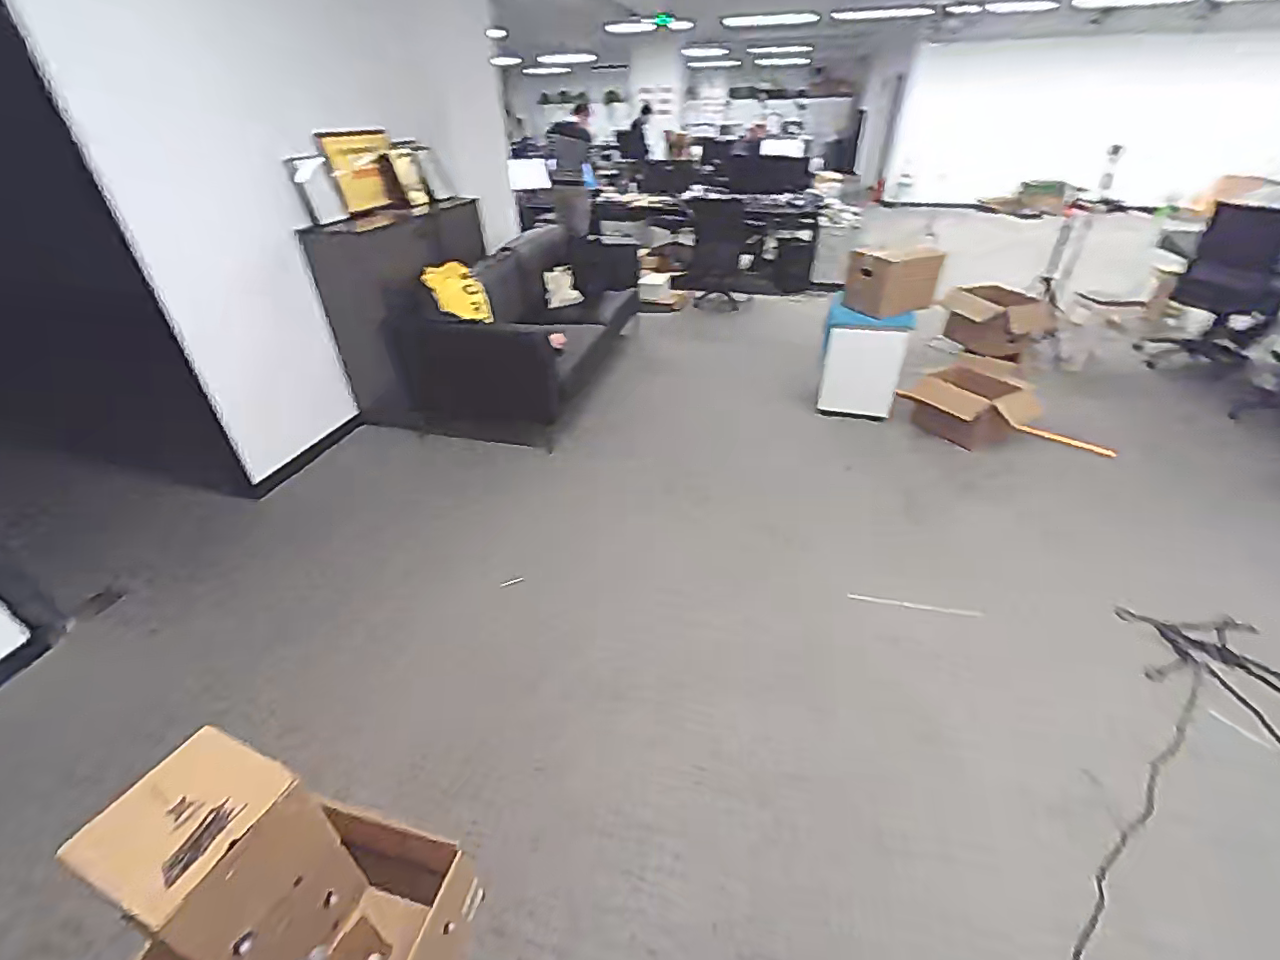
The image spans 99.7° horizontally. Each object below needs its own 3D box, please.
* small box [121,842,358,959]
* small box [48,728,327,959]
[{"bbox_3d":[-0.527,0.585,0.741,0.179,0.176,0.168,11,35,17],"label":"small box"},{"bbox_3d":[-0.523,0.447,0.654,0.179,0.176,0.168,13,35,20],"label":"small box"}]
